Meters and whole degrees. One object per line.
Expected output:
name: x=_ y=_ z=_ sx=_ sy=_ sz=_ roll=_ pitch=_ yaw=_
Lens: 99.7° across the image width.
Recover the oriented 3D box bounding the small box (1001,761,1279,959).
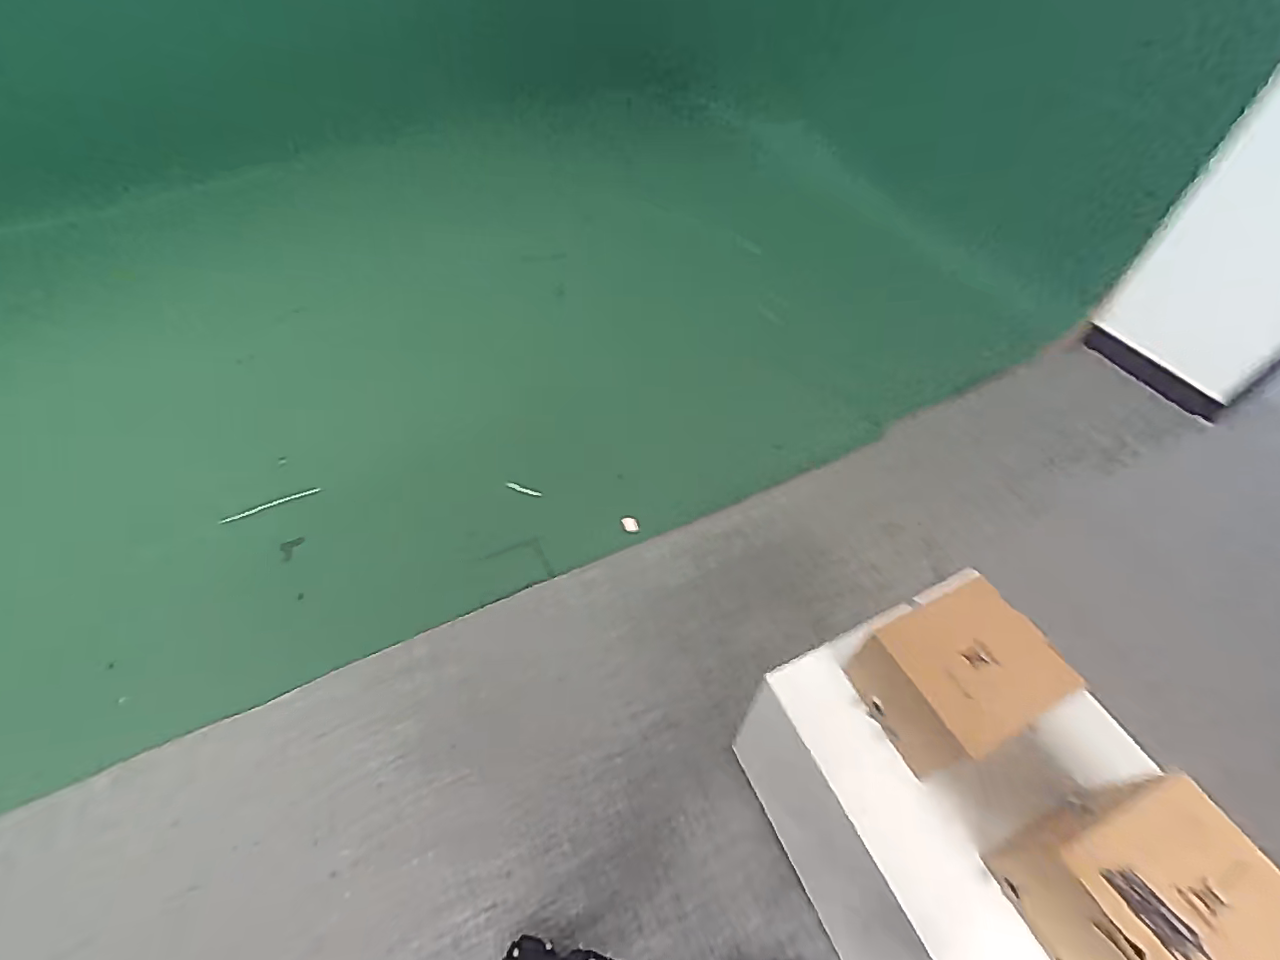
small box: x=0.524 y=0.430 z=0.567 sx=0.179 sy=0.176 sz=0.168 roll=-22 pitch=55 yaw=-12

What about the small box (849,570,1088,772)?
small box: x=0.406 y=0.252 z=0.706 sx=0.179 sy=0.176 sz=0.168 roll=-25 pitch=56 yaw=-12
